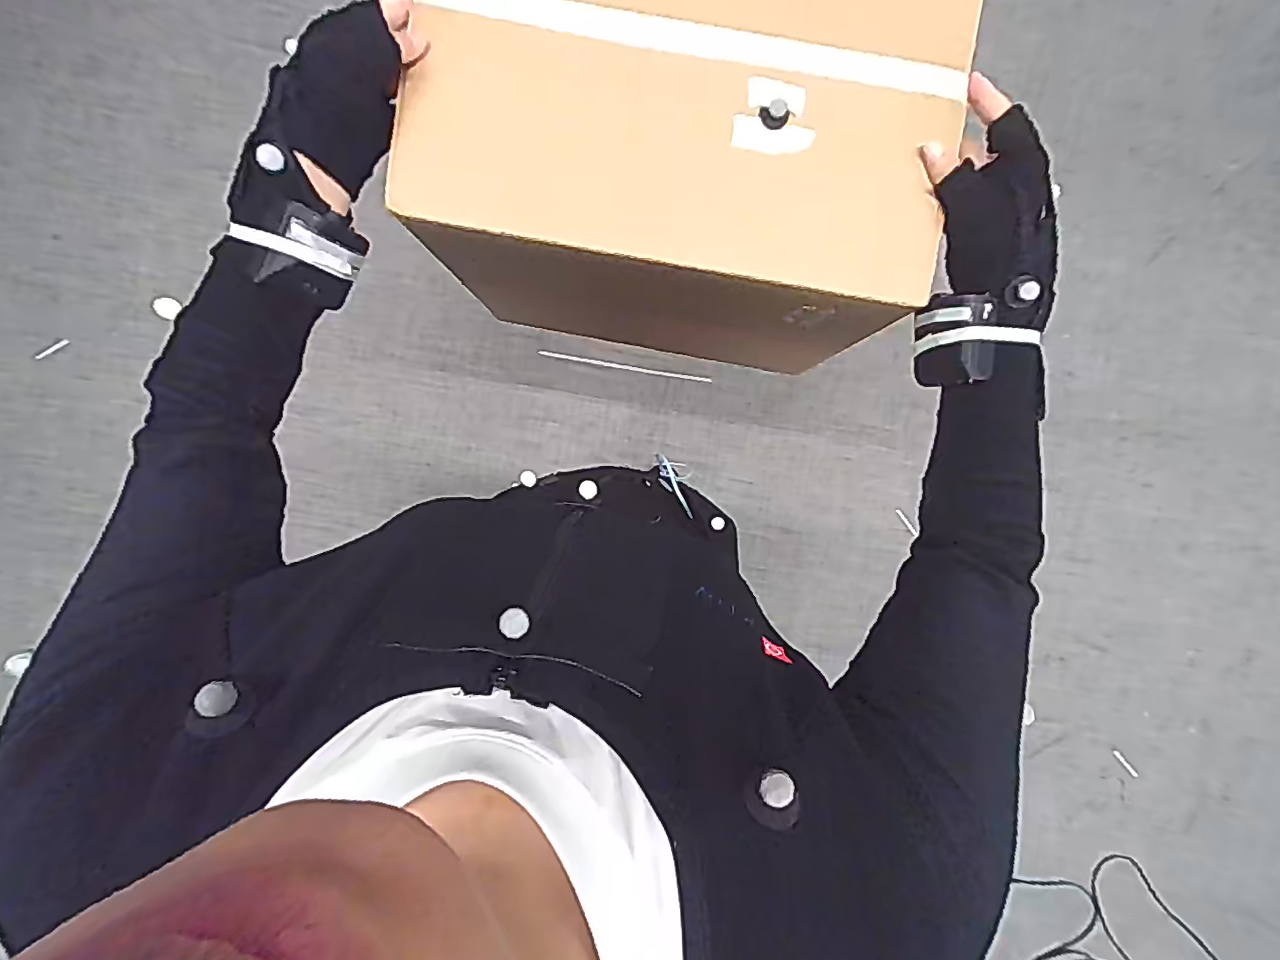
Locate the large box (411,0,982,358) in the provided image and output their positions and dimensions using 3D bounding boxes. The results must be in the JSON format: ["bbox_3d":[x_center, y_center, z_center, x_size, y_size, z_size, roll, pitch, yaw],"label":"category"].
[{"bbox_3d":[0.043,-0.331,0.548,0.408,0.320,0.320,10,93,-1],"label":"large box"}]
